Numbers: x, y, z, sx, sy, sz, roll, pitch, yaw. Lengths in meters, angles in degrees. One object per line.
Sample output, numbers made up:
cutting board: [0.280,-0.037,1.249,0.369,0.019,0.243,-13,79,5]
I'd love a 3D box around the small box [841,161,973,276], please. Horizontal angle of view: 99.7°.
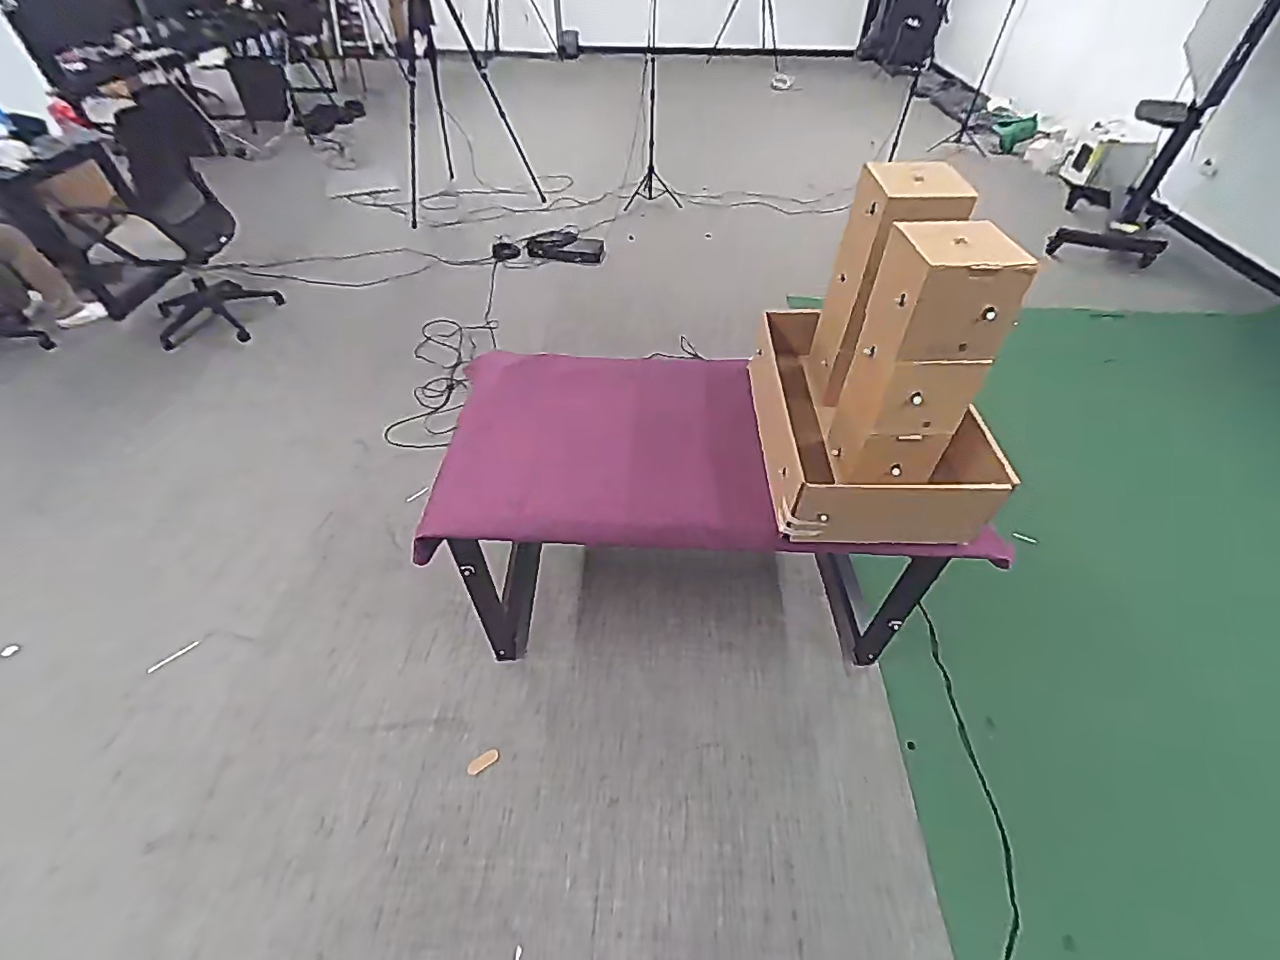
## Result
small box: [0.524,-0.521,1.091,0.168,0.176,0.179,1,49,1]

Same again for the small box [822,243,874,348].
small box: [0.524,-0.414,1.218,0.168,0.176,0.179,-1,49,1]

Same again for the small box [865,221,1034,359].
small box: [0.505,-0.319,0.915,0.168,0.176,0.179,0,45,0]

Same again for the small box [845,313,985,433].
small box: [0.509,-0.202,1.029,0.168,0.176,0.179,0,46,1]
